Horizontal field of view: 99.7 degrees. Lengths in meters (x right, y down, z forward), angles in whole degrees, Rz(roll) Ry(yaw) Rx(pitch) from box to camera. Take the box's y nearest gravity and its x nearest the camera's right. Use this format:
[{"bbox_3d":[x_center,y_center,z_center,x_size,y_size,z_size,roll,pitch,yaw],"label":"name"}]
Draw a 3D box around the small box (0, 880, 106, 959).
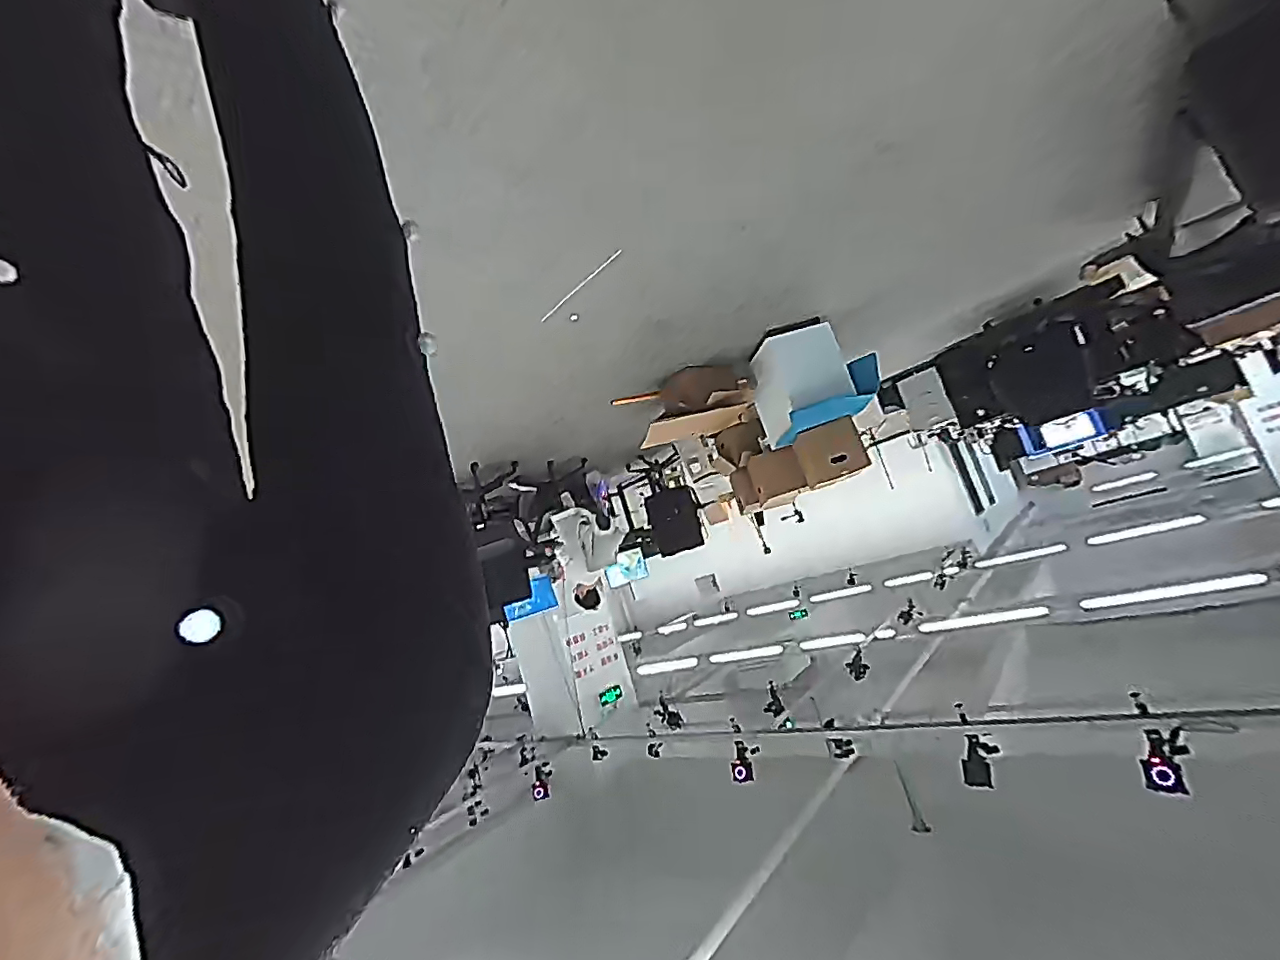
[{"bbox_3d":[-1.586,1.224,1.467,0.179,0.176,0.168,-7,167,-45],"label":"small box"}]
